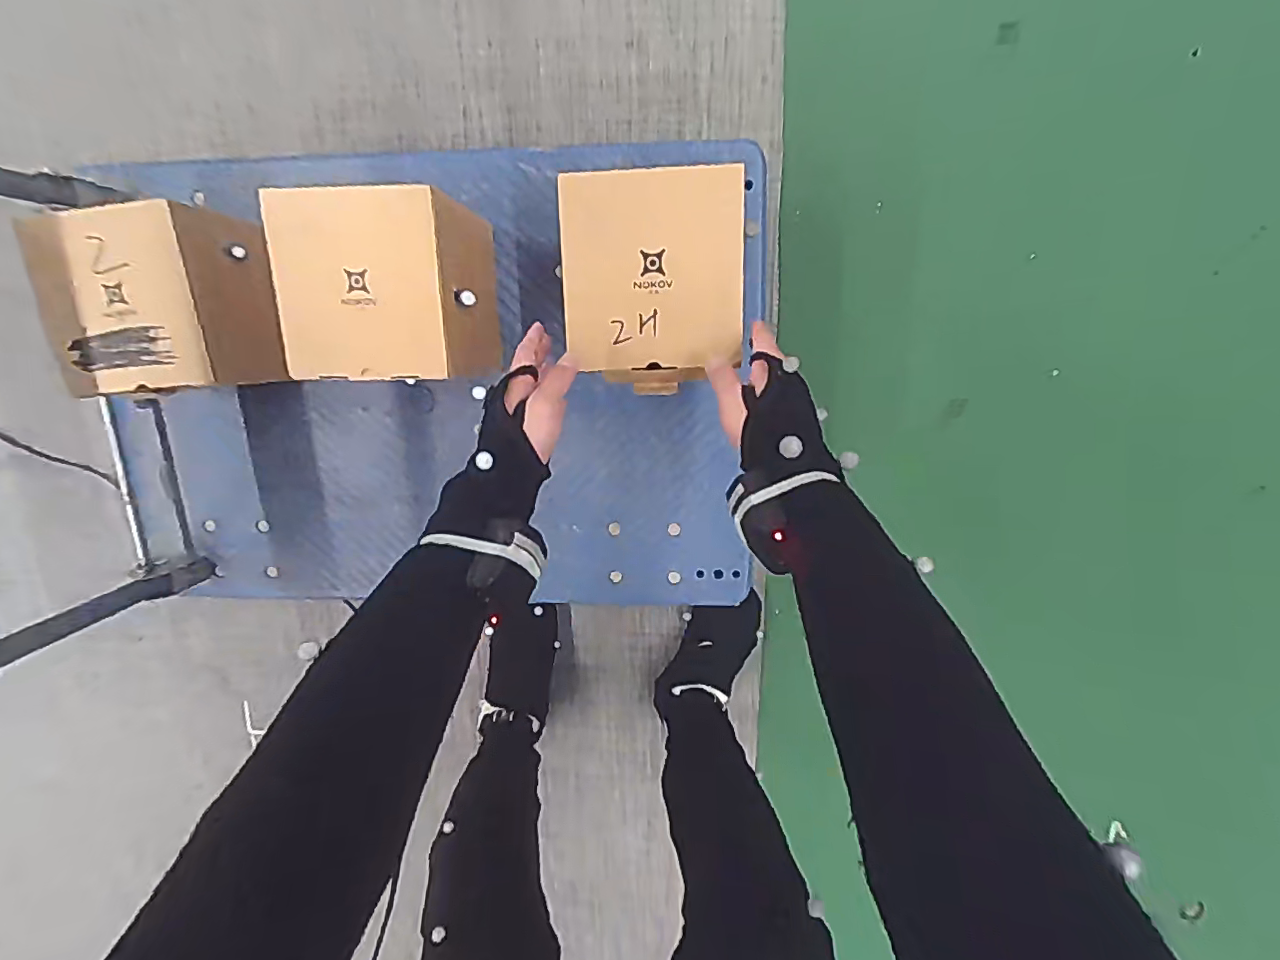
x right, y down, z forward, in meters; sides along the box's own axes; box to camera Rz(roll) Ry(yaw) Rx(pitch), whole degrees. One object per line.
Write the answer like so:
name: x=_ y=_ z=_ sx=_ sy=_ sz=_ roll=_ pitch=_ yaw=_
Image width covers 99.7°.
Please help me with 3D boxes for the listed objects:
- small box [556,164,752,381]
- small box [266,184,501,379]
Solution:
small box: x=0.016 y=-0.204 z=0.565 sx=0.168 sy=0.176 sz=0.179 roll=7 pitch=106 yaw=5
small box: x=-0.259 y=-0.204 z=0.590 sx=0.168 sy=0.176 sz=0.179 roll=1 pitch=105 yaw=4
